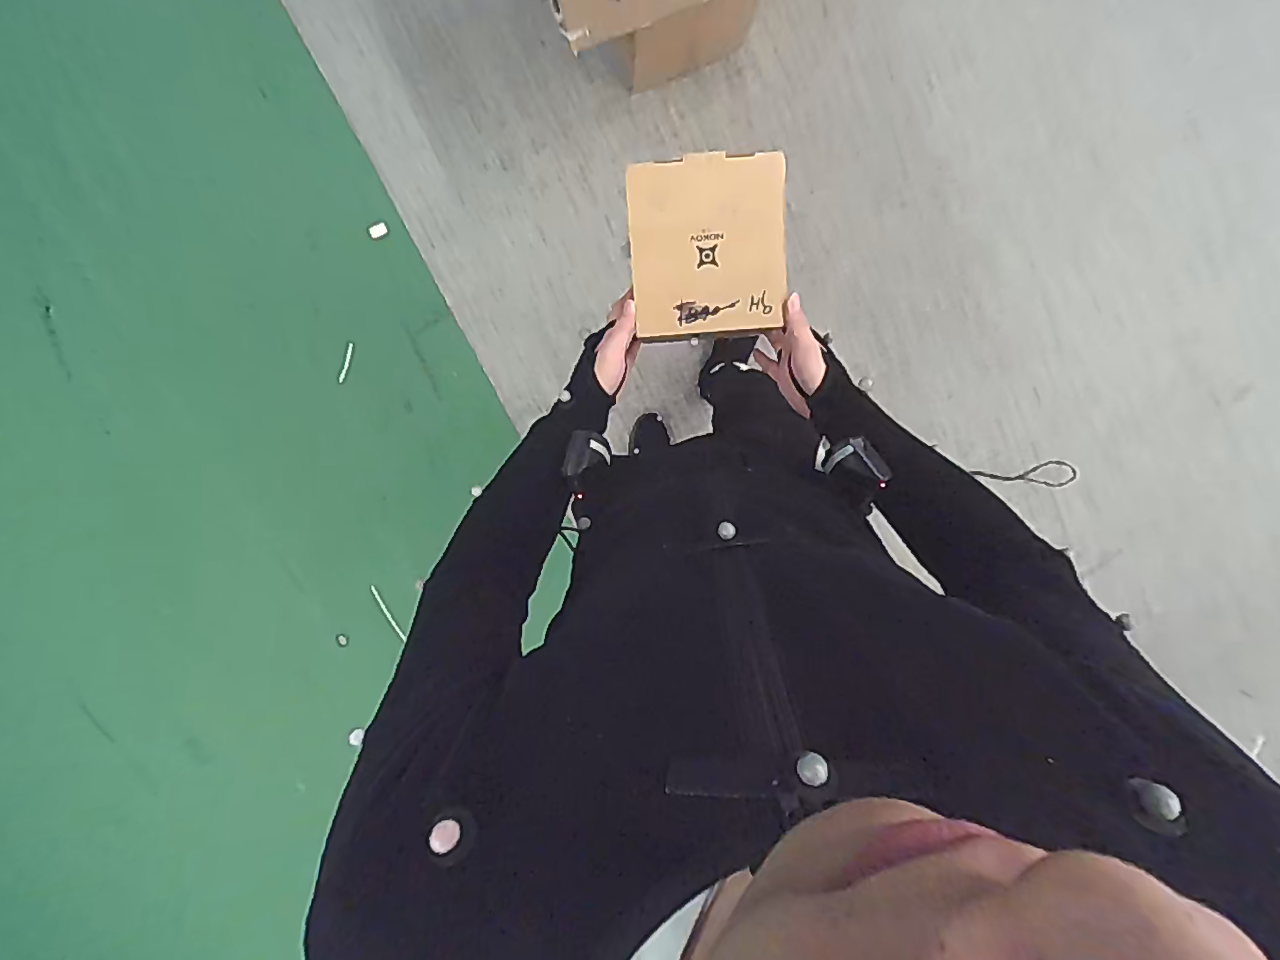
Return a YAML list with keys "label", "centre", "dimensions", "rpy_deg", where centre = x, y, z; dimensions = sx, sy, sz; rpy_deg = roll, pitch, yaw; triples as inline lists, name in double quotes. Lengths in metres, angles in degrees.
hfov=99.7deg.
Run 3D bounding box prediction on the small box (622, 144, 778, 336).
- label: "small box"
  centre: [0.069, -0.274, 0.656]
  dimensions: [0.168, 0.176, 0.179]
  rpy_deg: [-3, 102, 4]
